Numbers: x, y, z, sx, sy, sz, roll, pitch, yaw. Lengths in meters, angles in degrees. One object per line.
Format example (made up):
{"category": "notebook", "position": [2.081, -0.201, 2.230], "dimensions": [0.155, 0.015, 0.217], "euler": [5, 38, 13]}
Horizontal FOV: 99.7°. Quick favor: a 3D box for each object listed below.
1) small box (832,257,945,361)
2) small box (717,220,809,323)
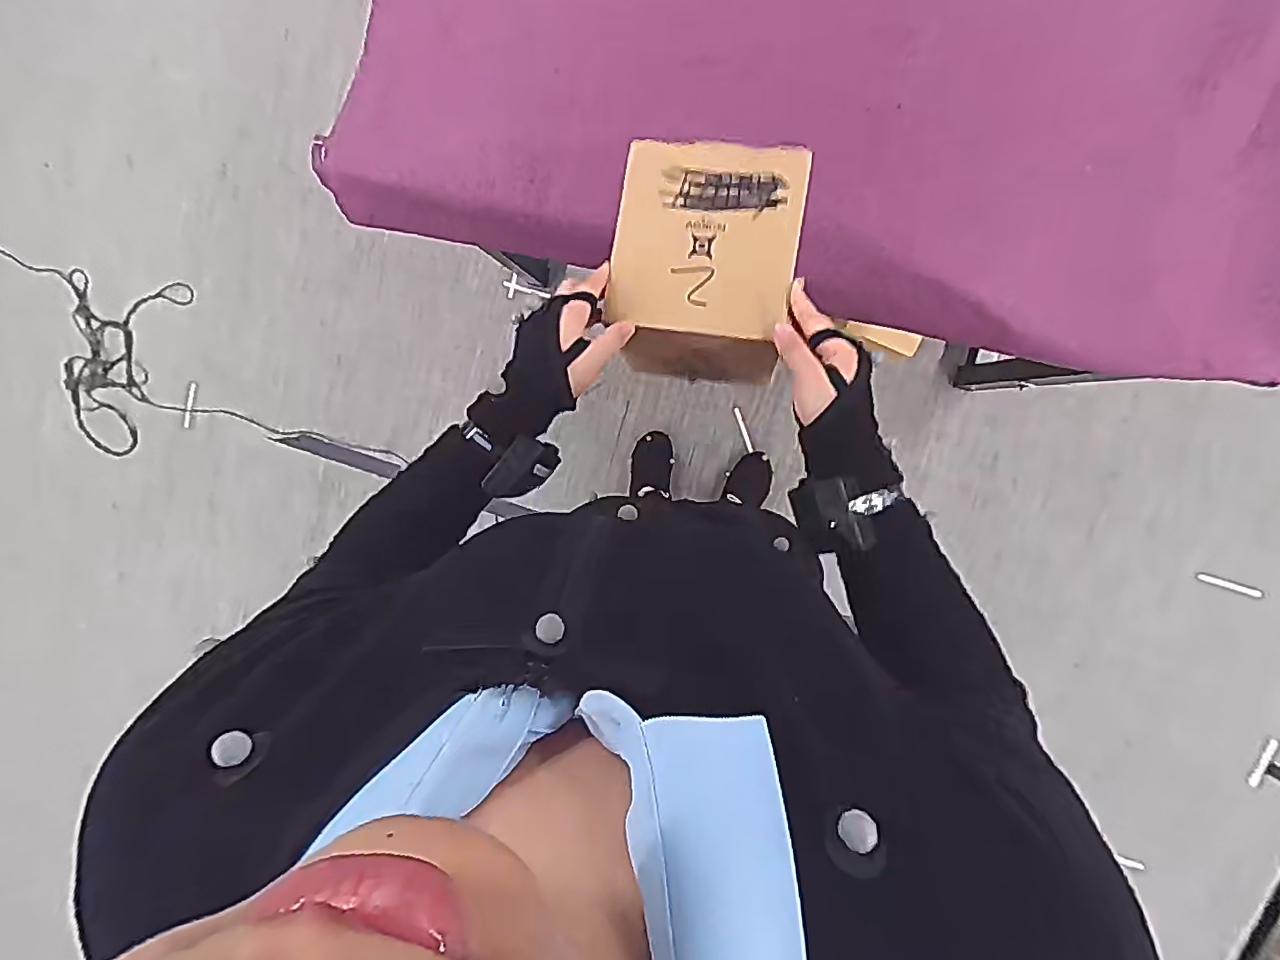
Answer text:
{"category": "small box", "position": [0.583, -0.400, 1.301], "dimensions": [0.168, 0.176, 0.179], "euler": [25, 99, 3]}
{"category": "small box", "position": [0.290, -0.496, 1.317], "dimensions": [0.168, 0.176, 0.179], "euler": [18, 98, 3]}
